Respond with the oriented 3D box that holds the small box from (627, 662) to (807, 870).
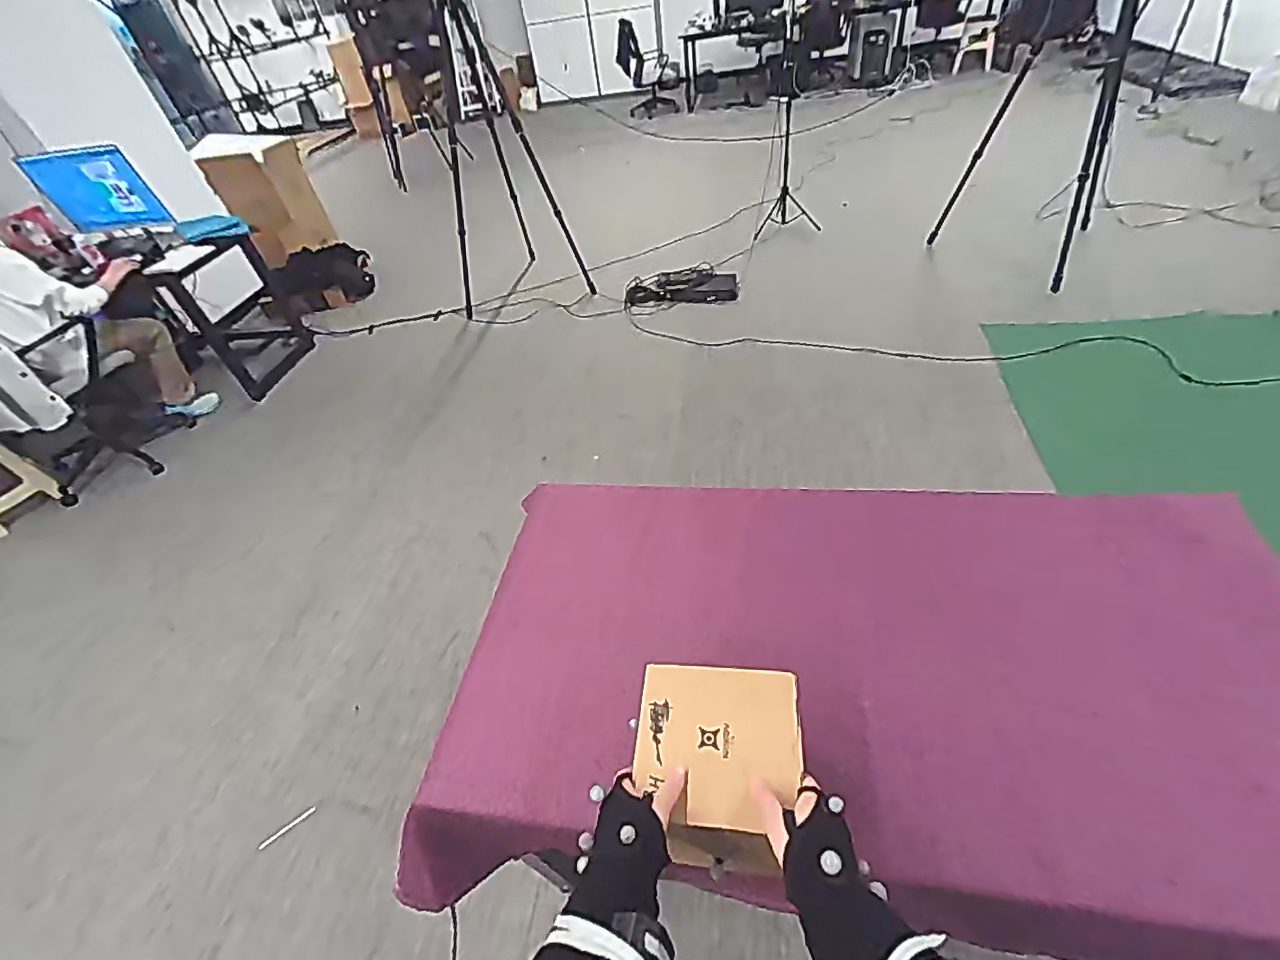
[{"bbox_3d":[0.091,0.336,0.634,0.179,0.176,0.168,1,44,10],"label":"small box"}]
